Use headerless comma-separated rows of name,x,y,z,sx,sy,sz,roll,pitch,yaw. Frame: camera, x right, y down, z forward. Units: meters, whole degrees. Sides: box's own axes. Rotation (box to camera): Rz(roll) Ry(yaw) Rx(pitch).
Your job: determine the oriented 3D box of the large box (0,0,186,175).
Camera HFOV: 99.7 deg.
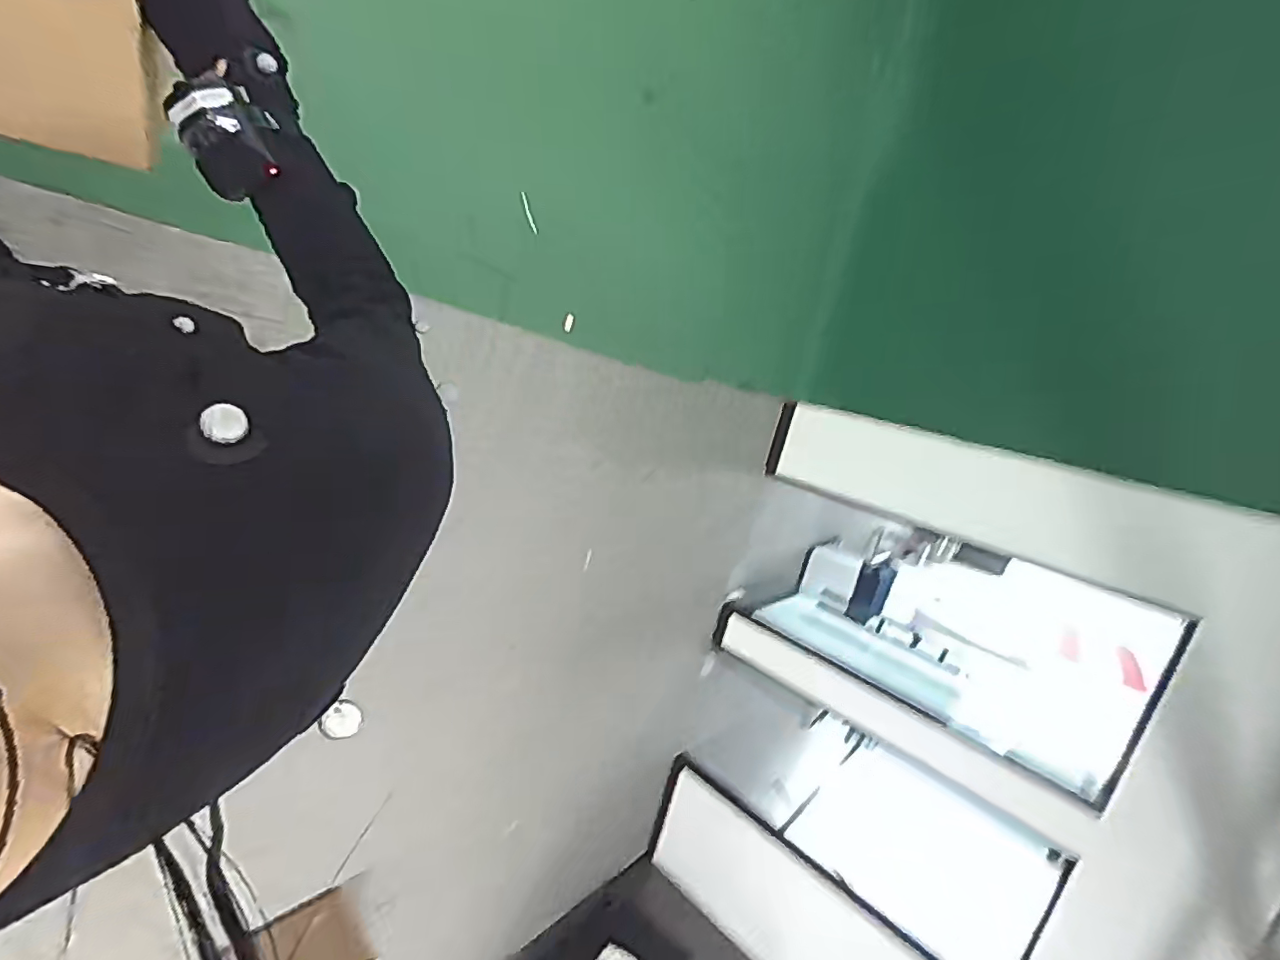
large box,-0.540,-0.440,0.311,0.408,0.320,0.320,0,129,-36
